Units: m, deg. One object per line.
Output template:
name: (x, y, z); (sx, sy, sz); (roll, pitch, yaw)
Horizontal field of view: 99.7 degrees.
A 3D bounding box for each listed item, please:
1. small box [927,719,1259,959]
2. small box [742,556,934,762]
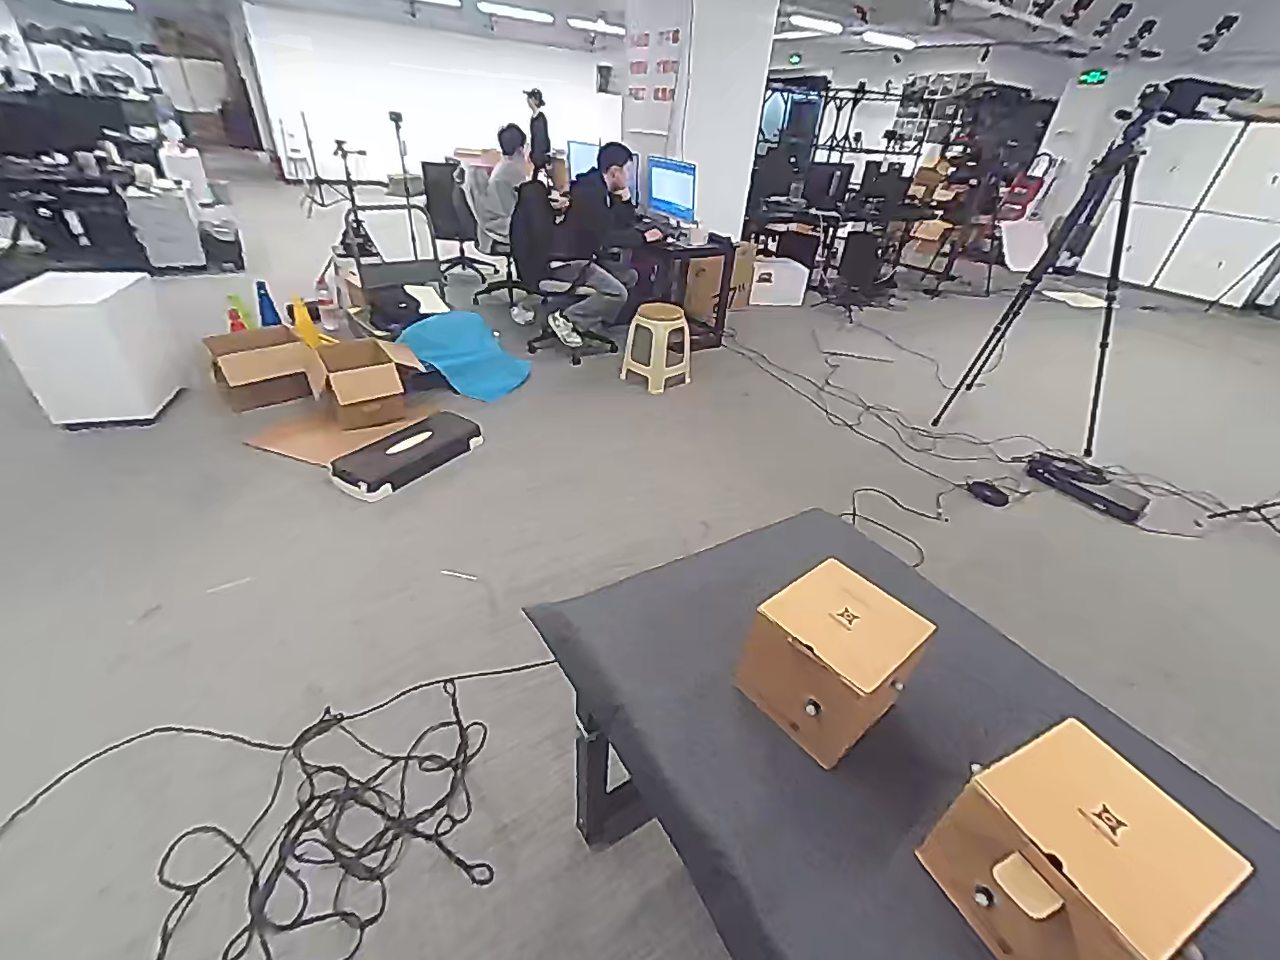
small box: (0.434, 0.387, 0.549); (0.179, 0.176, 0.168); (-12, 37, -24)
small box: (0.260, 0.242, 0.745); (0.179, 0.176, 0.168); (-21, 42, -35)
